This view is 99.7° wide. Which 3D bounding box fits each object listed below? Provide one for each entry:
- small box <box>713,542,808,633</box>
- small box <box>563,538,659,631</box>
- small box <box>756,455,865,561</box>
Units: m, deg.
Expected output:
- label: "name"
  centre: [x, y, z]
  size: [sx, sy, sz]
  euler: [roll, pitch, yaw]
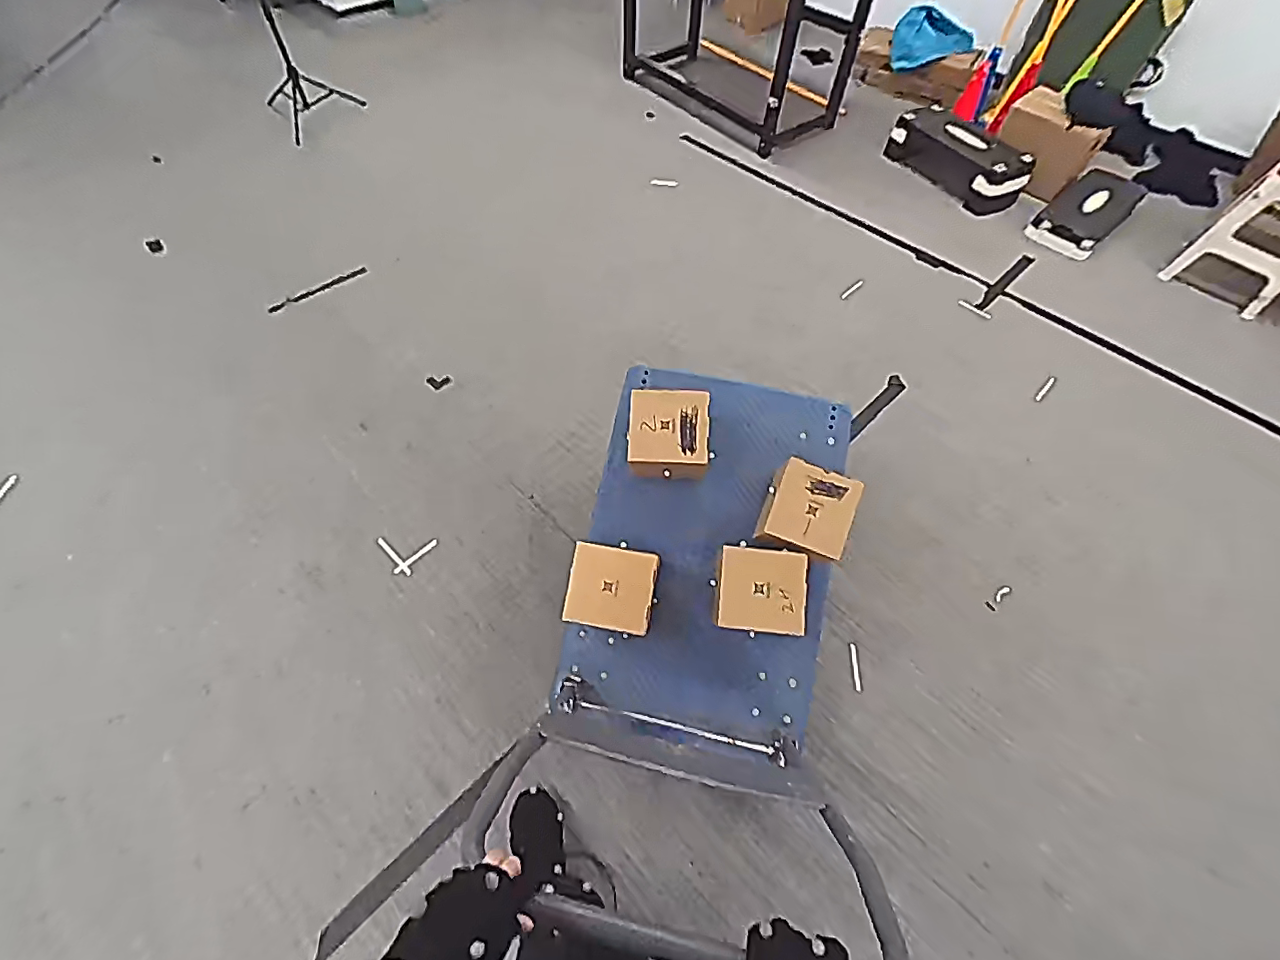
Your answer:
- label: "small box"
  centre: [0.255, 0.234, 1.177]
  size: [0.179, 0.176, 0.168]
  euler: [6, 79, 5]
- label: "small box"
  centre: [-0.057, 0.232, 1.196]
  size: [0.179, 0.176, 0.168]
  euler: [10, 79, 4]
- label: "small box"
  centre: [0.370, 0.068, 1.204]
  size: [0.168, 0.176, 0.179]
  euler: [21, 81, 8]
